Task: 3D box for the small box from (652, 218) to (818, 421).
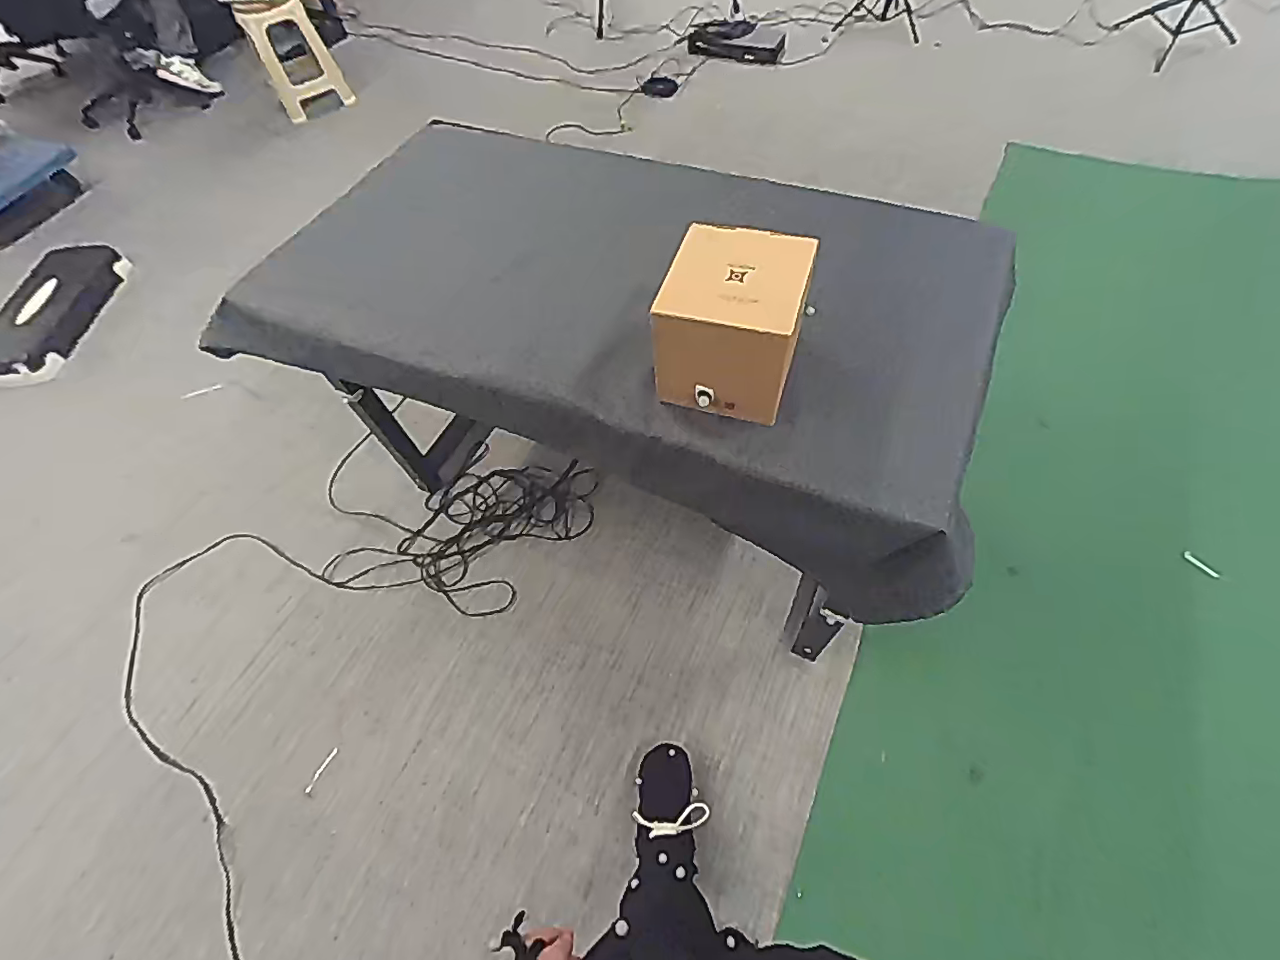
[{"bbox_3d":[0.121,-0.207,0.709,0.168,0.176,0.179,14,62,13],"label":"small box"}]
